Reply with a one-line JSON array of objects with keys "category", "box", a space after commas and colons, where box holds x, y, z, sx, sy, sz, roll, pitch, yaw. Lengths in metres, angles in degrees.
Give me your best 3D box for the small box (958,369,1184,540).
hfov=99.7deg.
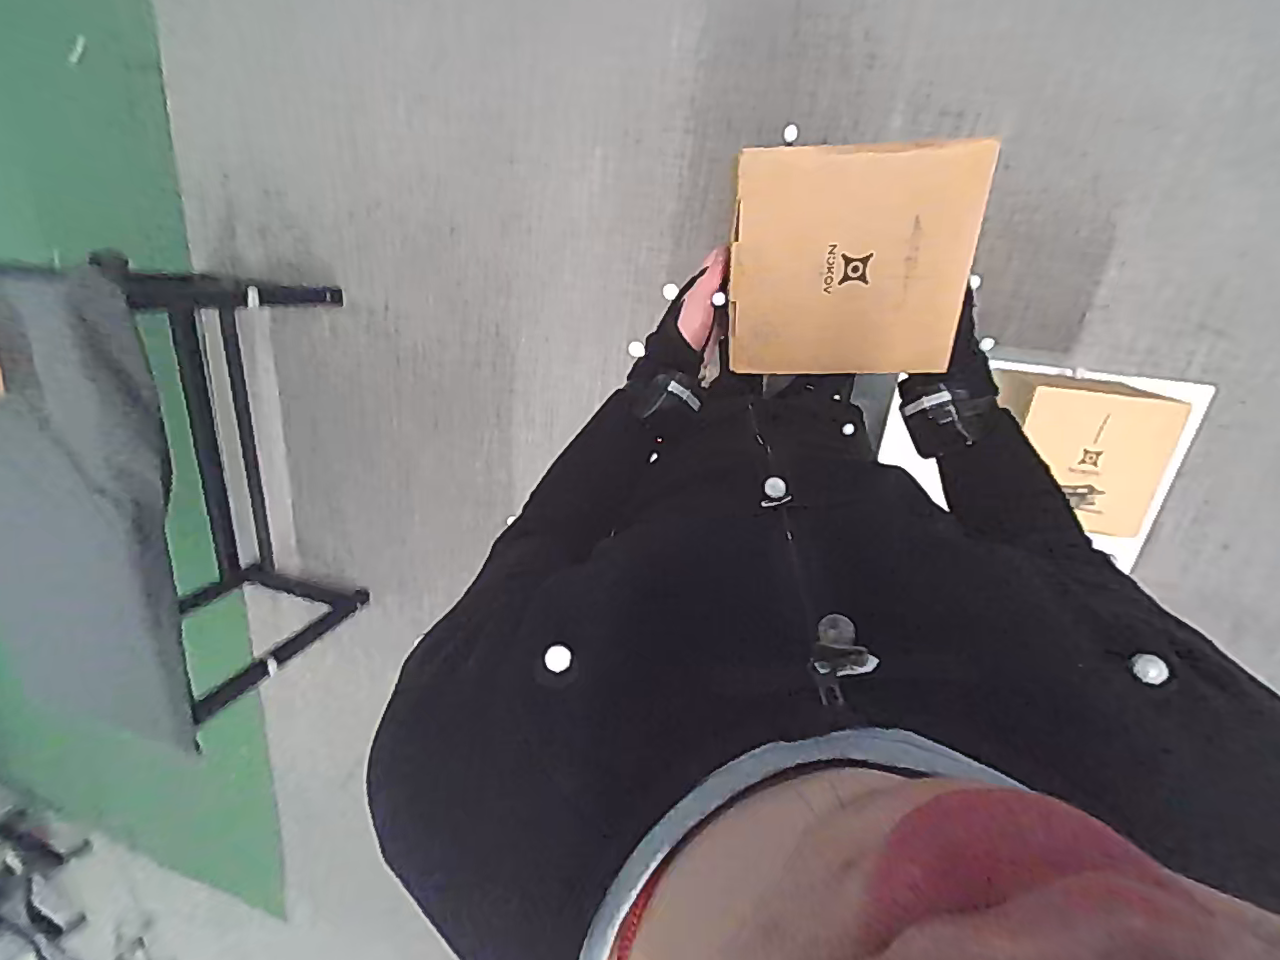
[{"category": "small box", "box": [0.561, -0.044, 0.740, 0.168, 0.176, 0.179, 11, 111, 12]}]
